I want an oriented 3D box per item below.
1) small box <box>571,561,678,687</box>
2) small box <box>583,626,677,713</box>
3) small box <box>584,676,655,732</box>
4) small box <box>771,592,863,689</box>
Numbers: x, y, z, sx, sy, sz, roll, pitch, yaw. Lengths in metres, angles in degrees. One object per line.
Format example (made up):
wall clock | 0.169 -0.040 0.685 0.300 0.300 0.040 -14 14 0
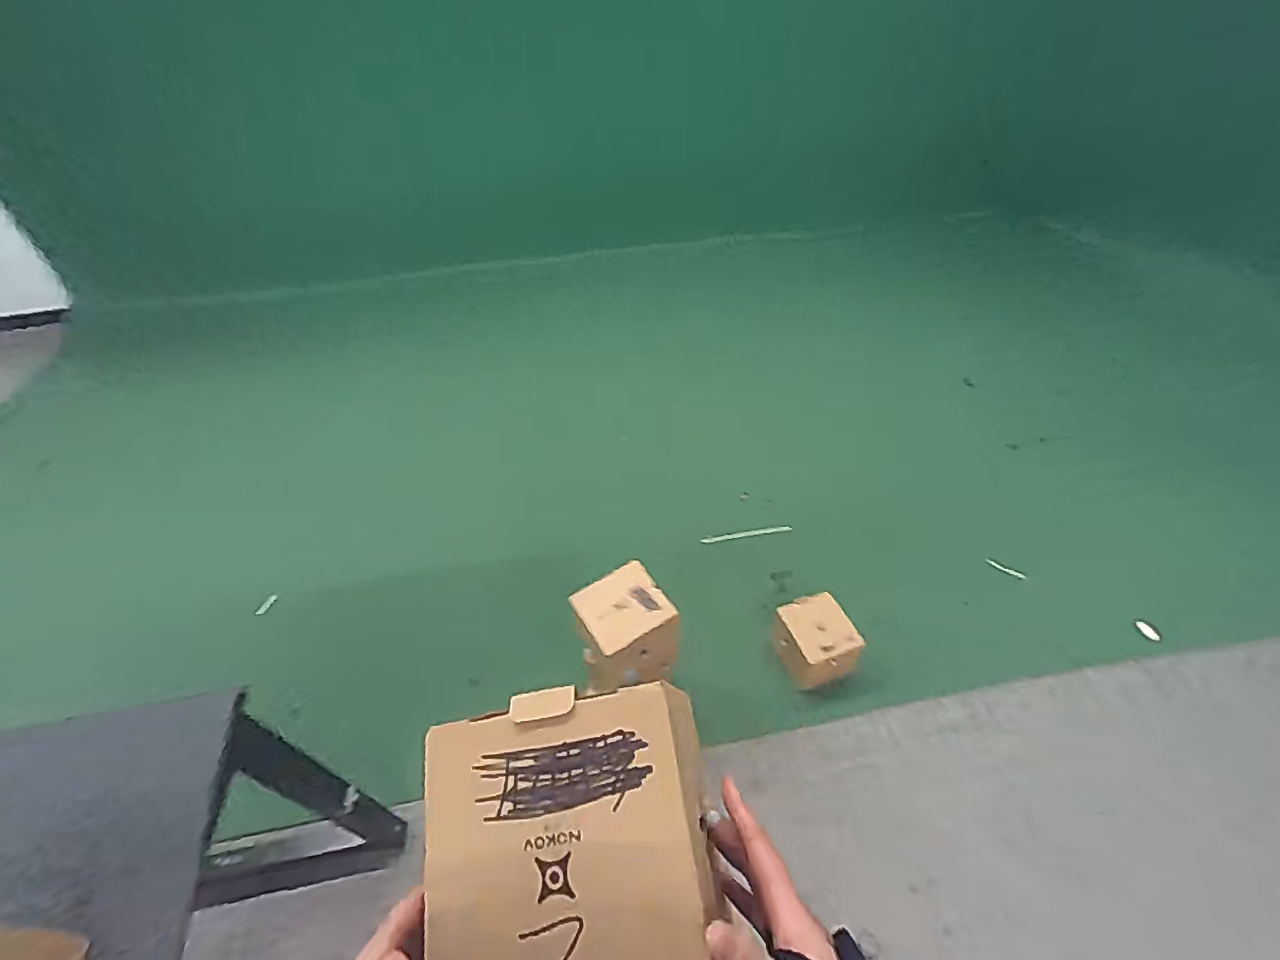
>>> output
small box | -0.034 0.319 1.196 0.179 0.176 0.168 -27 51 -20
small box | -0.018 0.432 1.314 0.168 0.176 0.179 20 49 19
small box | -0.043 0.546 1.431 0.168 0.176 0.179 4 46 6
small box | 0.479 0.445 1.498 0.168 0.176 0.179 -15 46 -12
